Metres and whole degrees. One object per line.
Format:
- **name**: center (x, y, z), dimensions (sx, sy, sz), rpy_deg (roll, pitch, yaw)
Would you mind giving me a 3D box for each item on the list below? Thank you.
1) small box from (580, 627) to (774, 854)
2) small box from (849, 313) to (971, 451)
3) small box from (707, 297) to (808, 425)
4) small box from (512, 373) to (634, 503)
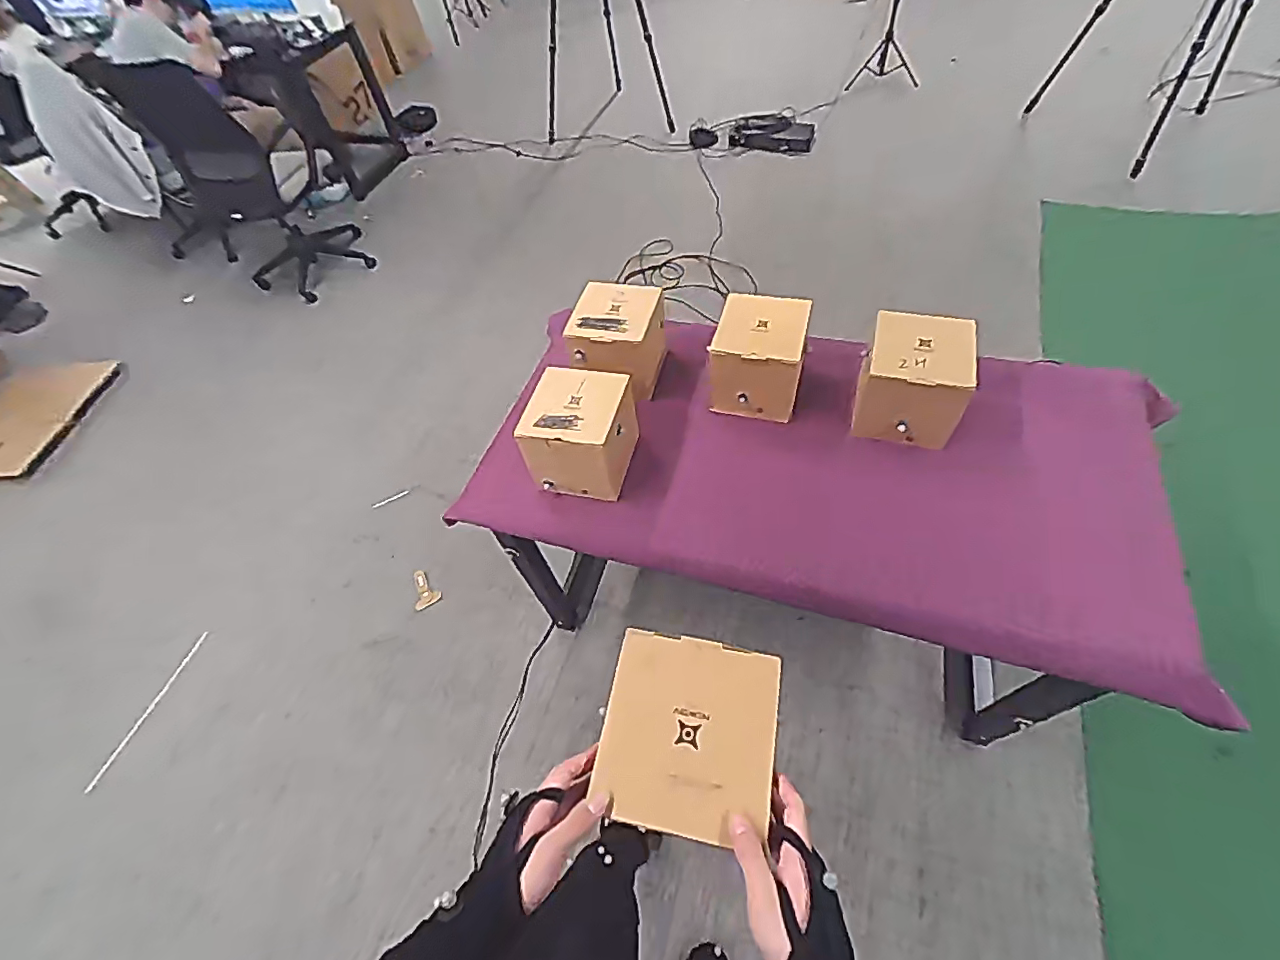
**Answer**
- **small box**: center (0.046, 0.285, 0.595), dimensions (0.168, 0.176, 0.179), rpy_deg (8, 59, 11)
- **small box**: center (0.498, -0.182, 1.010), dimensions (0.168, 0.176, 0.179), rpy_deg (11, 58, 17)
- **small box**: center (0.234, -0.239, 1.093), dimensions (0.168, 0.176, 0.179), rpy_deg (10, 59, 15)
- **small box**: center (-0.114, -0.078, 1.026), dimensions (0.168, 0.176, 0.179), rpy_deg (8, 55, 14)
